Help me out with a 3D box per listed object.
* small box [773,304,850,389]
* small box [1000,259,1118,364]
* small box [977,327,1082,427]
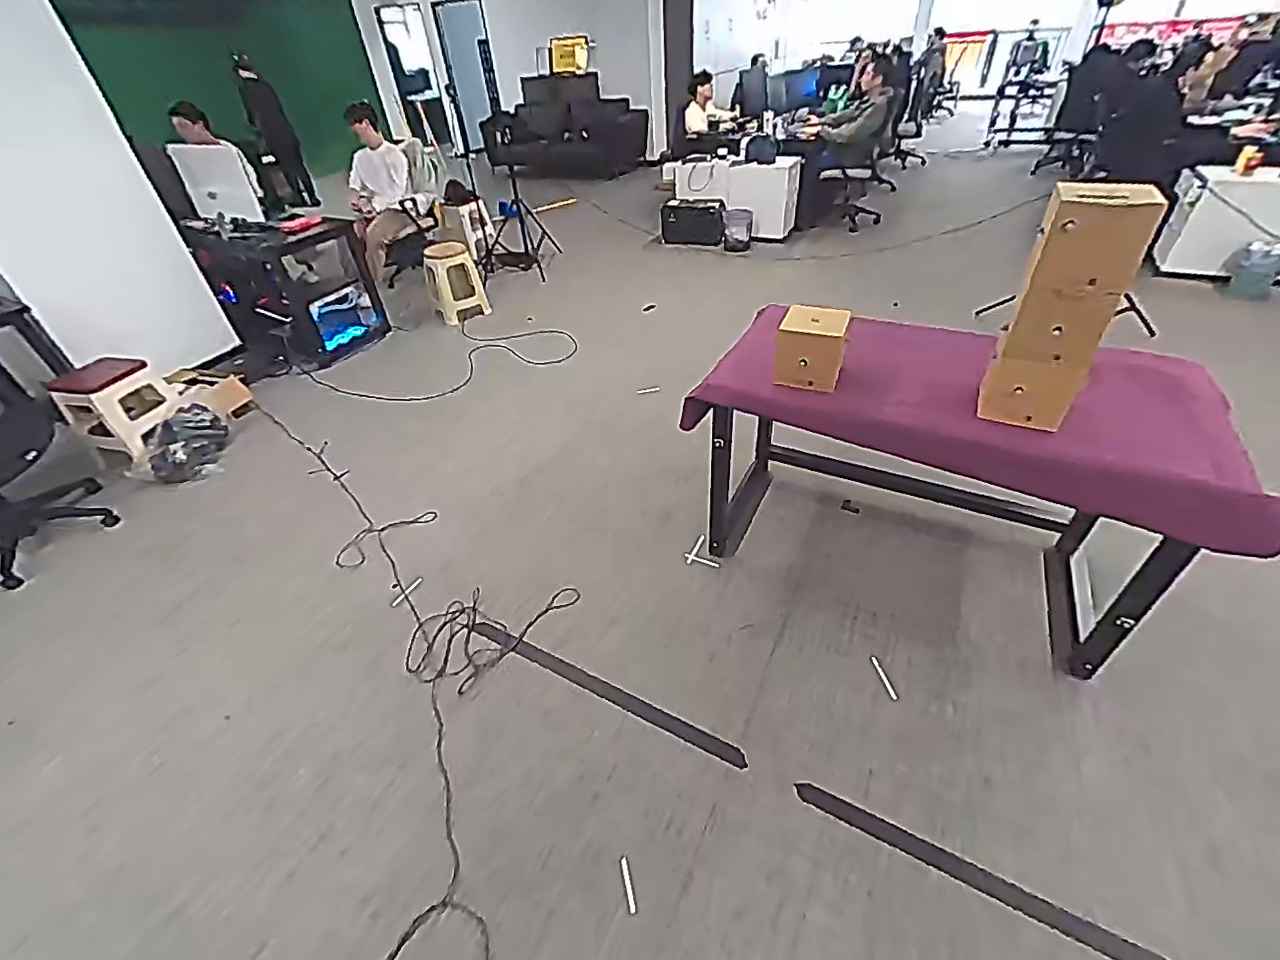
[{"bbox_3d":[0.475,-0.373,1.508,0.168,0.176,0.179,14,42,20],"label":"small box"},{"bbox_3d":[0.937,-0.381,1.221,0.168,0.176,0.179,17,44,24],"label":"small box"},{"bbox_3d":[0.945,-0.252,1.322,0.168,0.176,0.179,16,43,24],"label":"small box"}]
